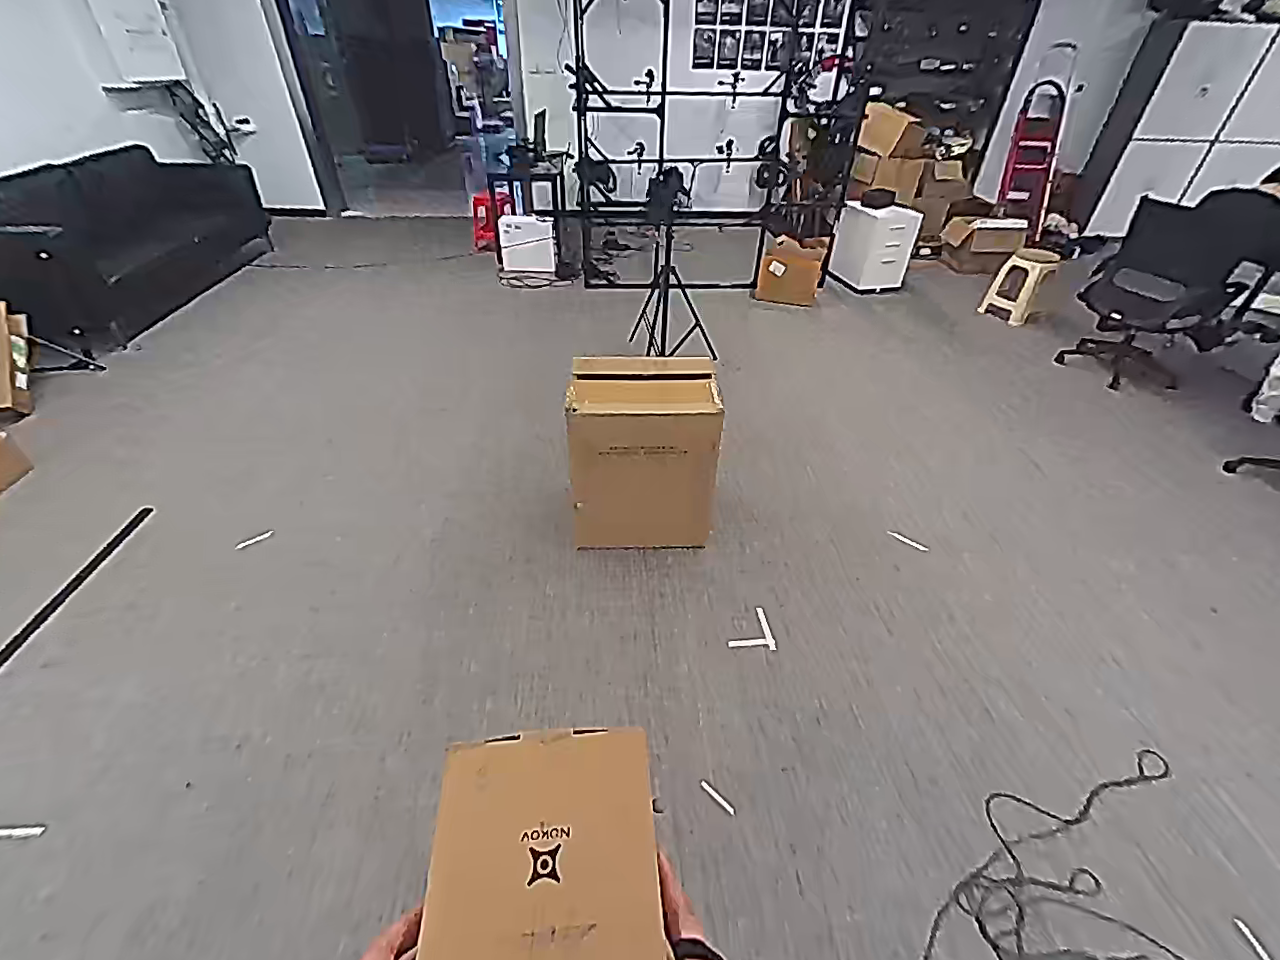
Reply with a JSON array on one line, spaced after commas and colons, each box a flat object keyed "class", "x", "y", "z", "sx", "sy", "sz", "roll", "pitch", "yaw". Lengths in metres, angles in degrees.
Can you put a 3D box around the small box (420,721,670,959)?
[{"class": "small box", "x": -0.068, "y": 0.328, "z": 0.454, "sx": 0.168, "sy": 0.176, "sz": 0.179, "roll": -4, "pitch": 46, "yaw": -4}]
